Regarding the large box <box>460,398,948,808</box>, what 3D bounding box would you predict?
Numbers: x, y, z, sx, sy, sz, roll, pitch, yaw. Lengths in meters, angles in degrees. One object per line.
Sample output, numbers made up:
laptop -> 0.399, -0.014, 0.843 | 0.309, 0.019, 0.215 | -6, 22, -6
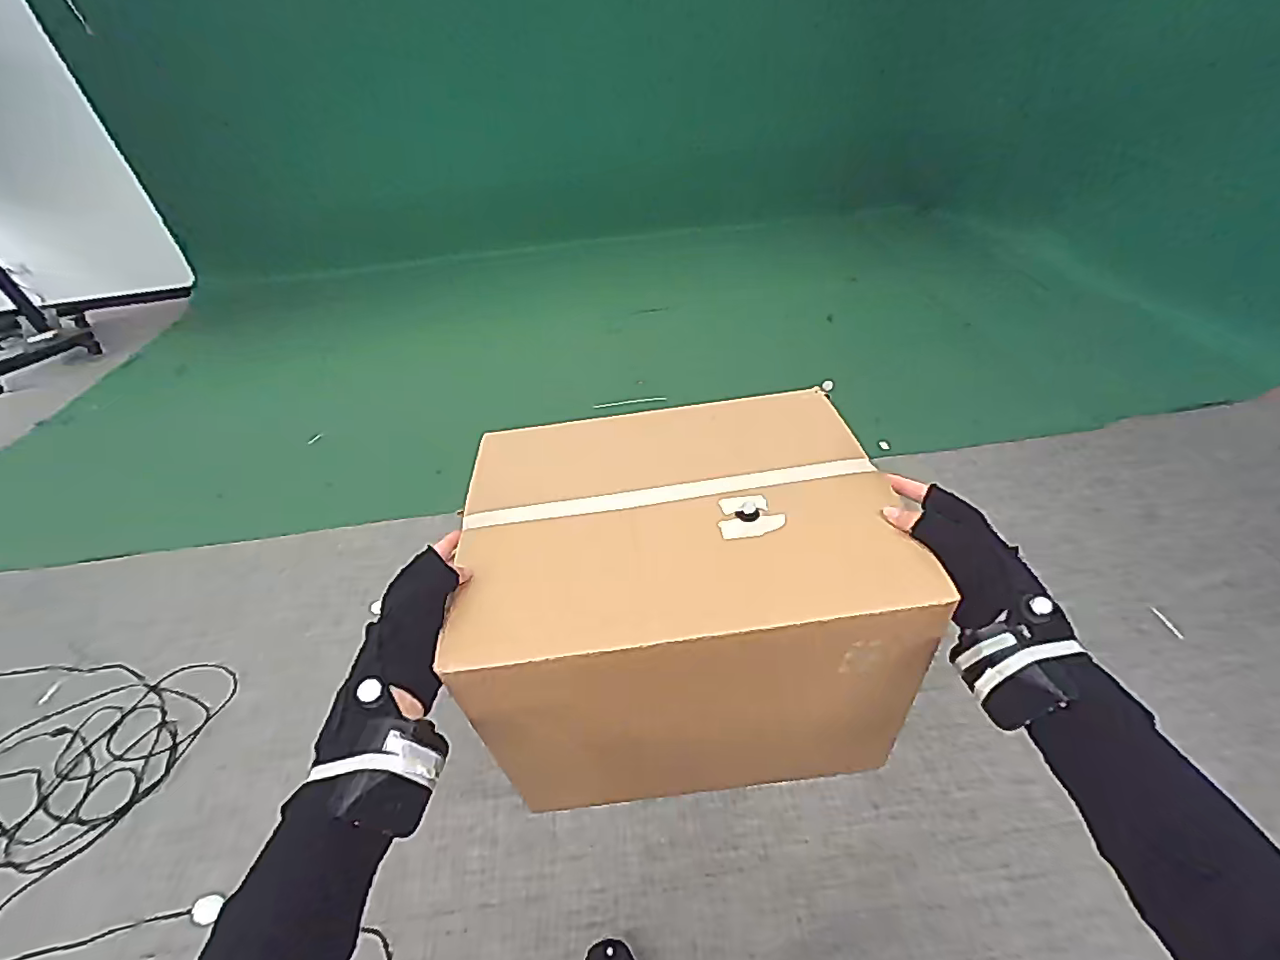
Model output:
large box -> 0.049, 0.136, 0.633 | 0.408, 0.320, 0.320 | -8, 41, -1
